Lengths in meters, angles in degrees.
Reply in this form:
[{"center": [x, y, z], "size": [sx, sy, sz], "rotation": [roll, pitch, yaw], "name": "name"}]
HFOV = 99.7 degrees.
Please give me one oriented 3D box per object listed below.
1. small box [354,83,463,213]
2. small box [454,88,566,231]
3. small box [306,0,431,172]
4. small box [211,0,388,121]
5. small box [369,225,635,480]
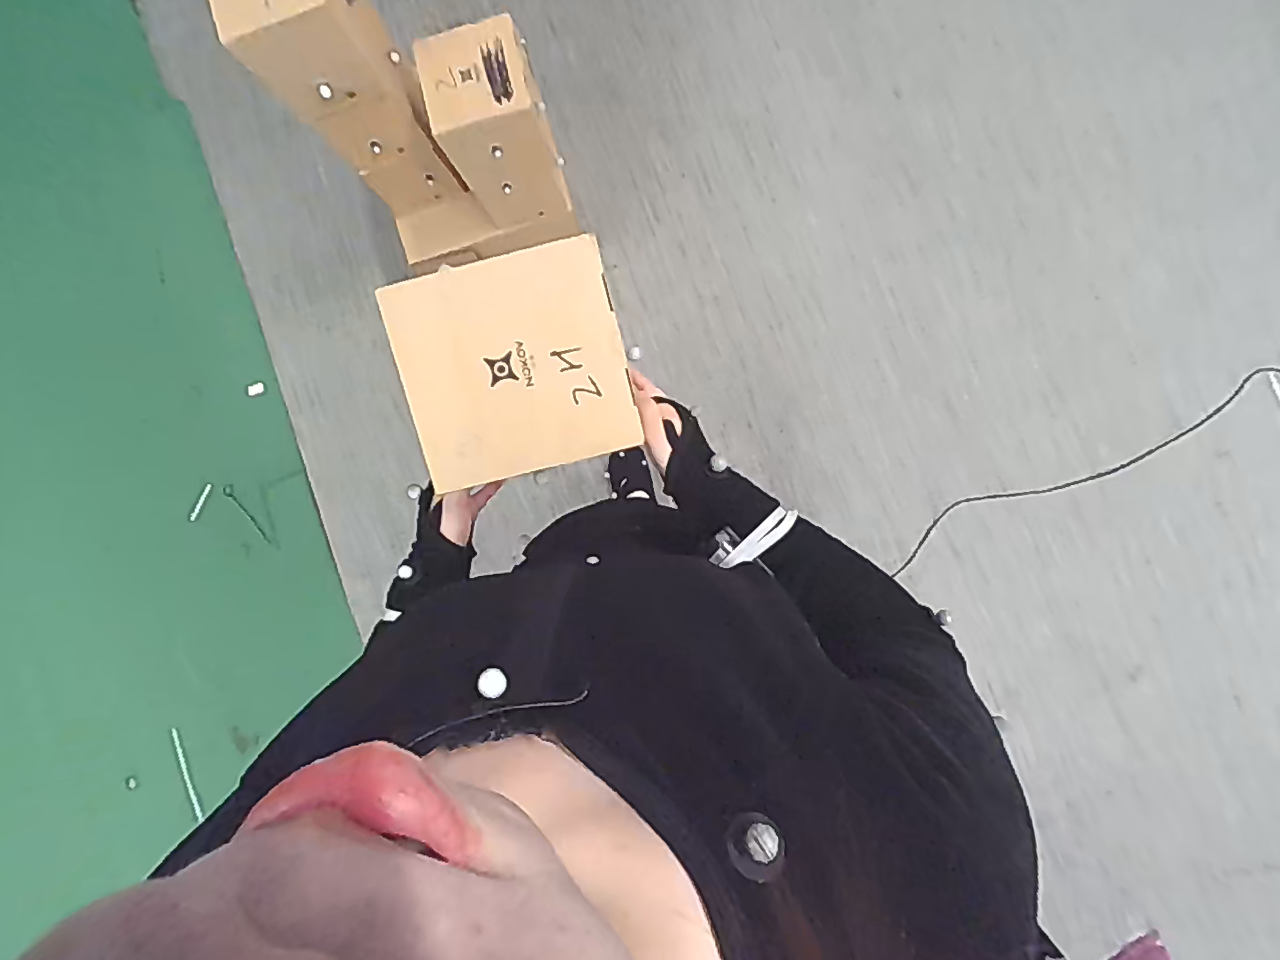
[{"center": [-0.505, -0.707, 1.164], "size": [0.168, 0.176, 0.179], "rotation": [-16, 85, 4], "name": "small box"}, {"center": [-0.266, -0.664, 1.139], "size": [0.168, 0.176, 0.179], "rotation": [-15, 86, 4], "name": "small box"}, {"center": [-0.516, -0.719, 1.001], "size": [0.168, 0.176, 0.179], "rotation": [-16, 88, 4], "name": "small box"}, {"center": [-0.525, -0.712, 0.838], "size": [0.168, 0.176, 0.179], "rotation": [-16, 87, 4], "name": "small box"}, {"center": [-0.105, -0.105, 0.496], "size": [0.179, 0.176, 0.168], "rotation": [-13, 98, 1], "name": "small box"}]
